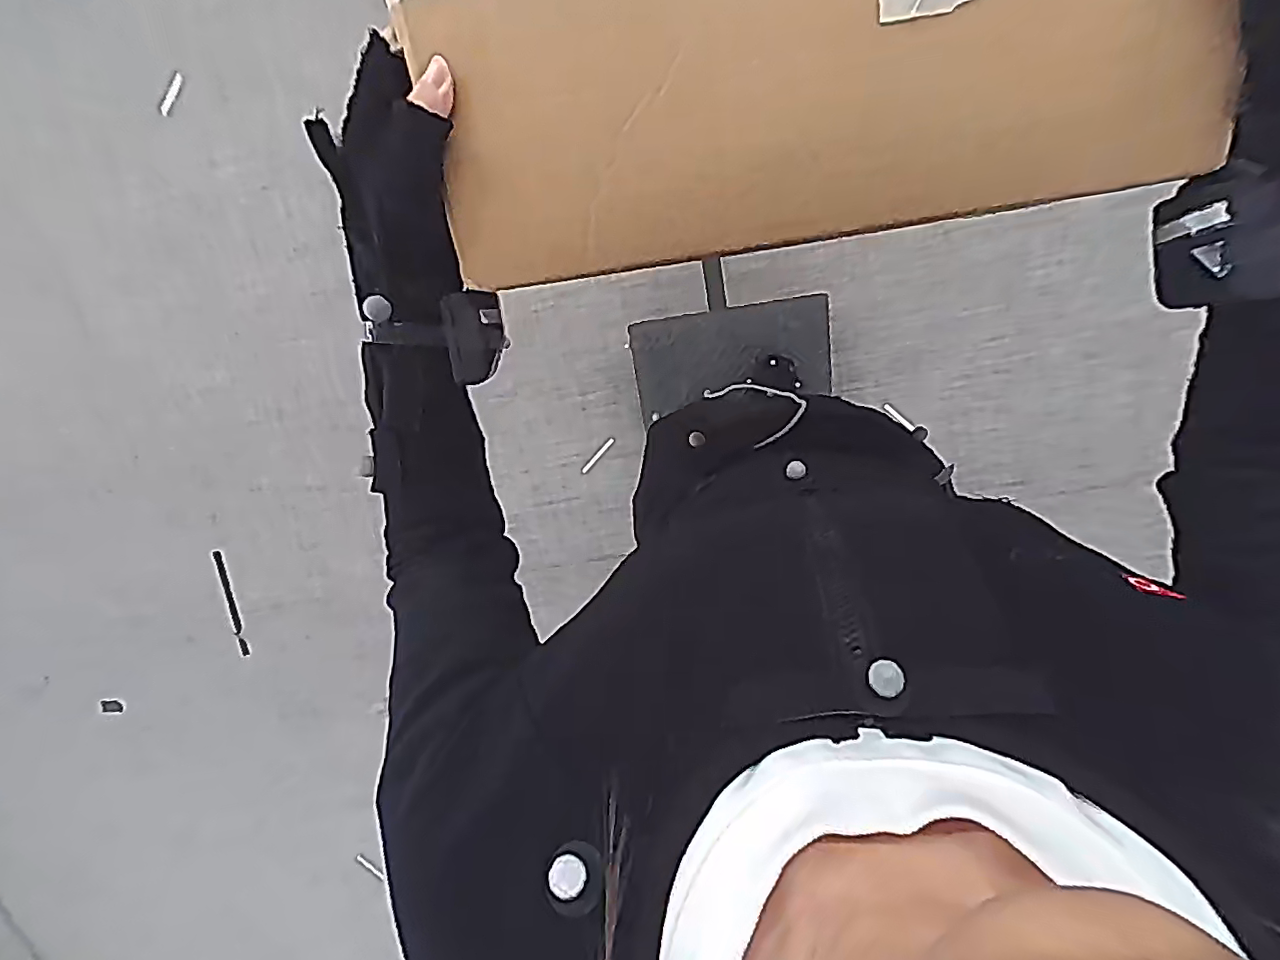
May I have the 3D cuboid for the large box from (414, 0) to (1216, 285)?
[{"bbox_3d":[0.084,-0.344,0.399,0.408,0.320,0.320,-6,112,9],"label":"large box"}]
